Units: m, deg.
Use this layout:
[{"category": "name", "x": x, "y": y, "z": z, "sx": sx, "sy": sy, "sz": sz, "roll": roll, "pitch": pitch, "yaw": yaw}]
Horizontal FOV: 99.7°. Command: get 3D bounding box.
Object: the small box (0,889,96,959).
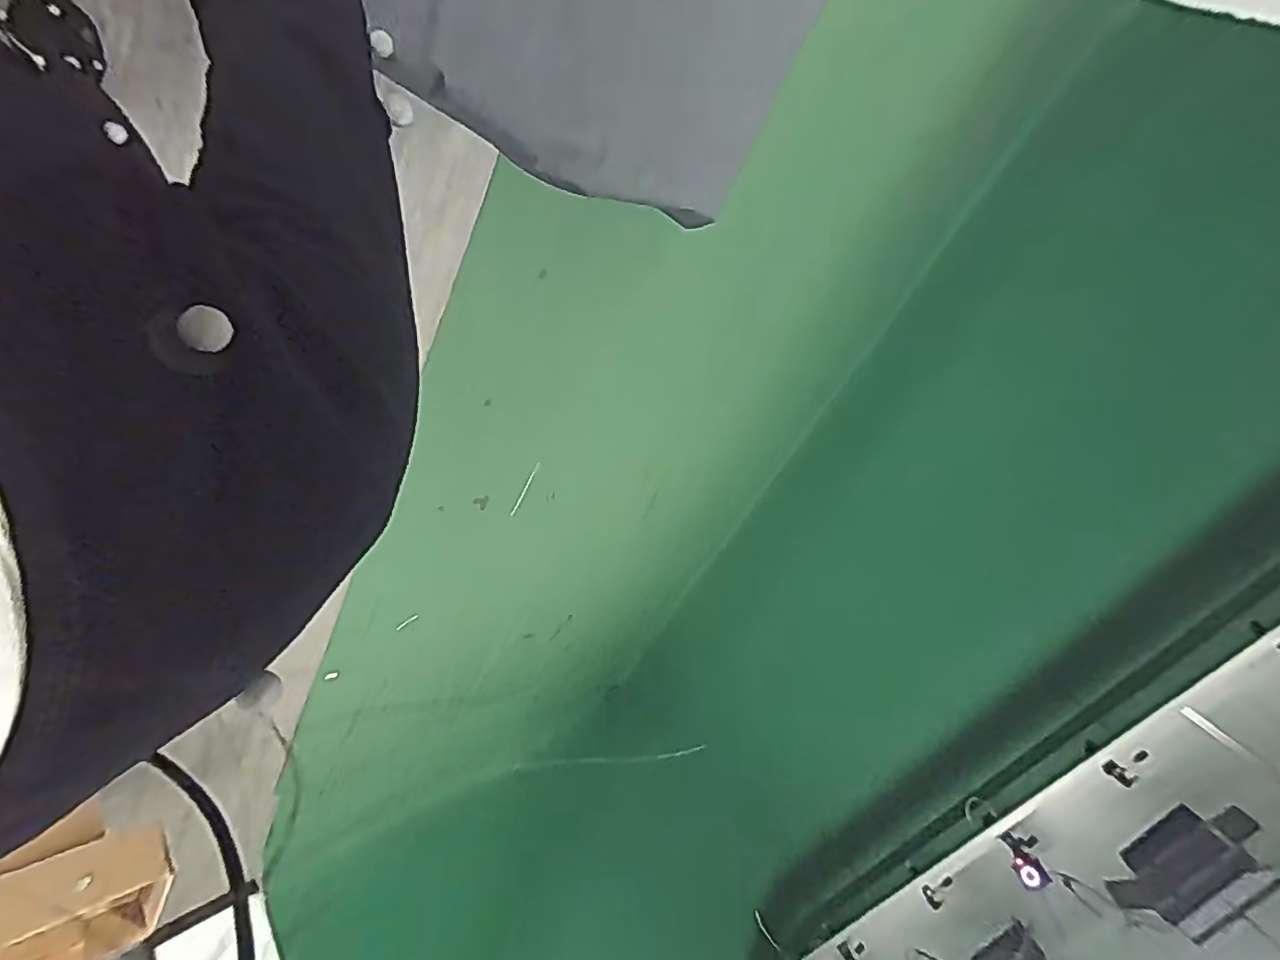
[{"category": "small box", "x": -1.637, "y": 1.281, "z": 1.489, "sx": 0.168, "sy": 0.176, "sz": 0.179, "roll": 6, "pitch": 126, "yaw": -52}]
